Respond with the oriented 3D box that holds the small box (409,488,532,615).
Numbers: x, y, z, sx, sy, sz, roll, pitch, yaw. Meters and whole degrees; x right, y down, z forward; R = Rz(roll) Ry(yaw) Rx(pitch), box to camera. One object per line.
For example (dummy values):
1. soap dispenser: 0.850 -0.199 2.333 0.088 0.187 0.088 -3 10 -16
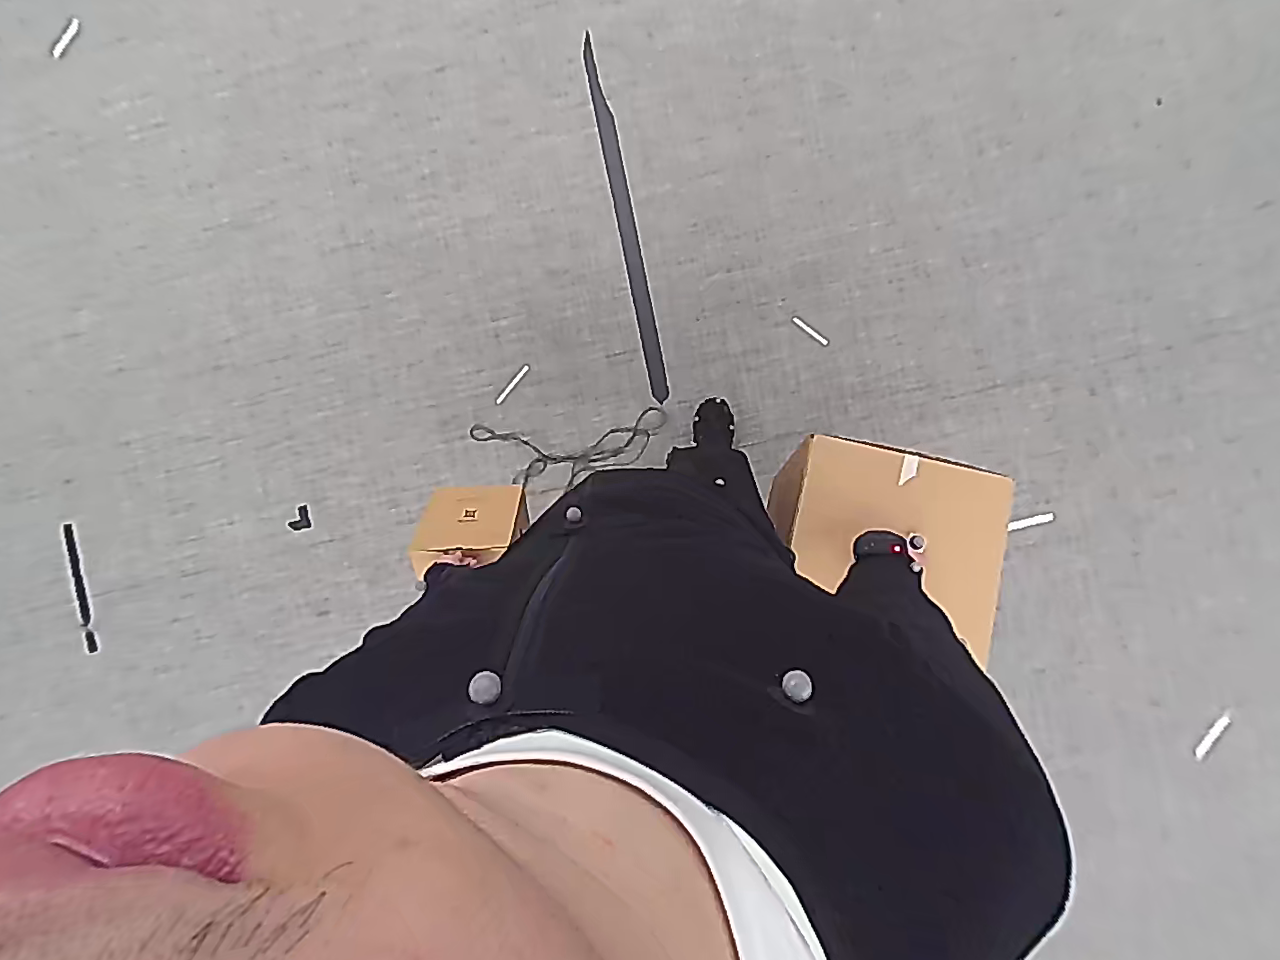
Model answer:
1. small box: -0.296 0.134 0.992 0.168 0.179 0.176 -2 125 -2
